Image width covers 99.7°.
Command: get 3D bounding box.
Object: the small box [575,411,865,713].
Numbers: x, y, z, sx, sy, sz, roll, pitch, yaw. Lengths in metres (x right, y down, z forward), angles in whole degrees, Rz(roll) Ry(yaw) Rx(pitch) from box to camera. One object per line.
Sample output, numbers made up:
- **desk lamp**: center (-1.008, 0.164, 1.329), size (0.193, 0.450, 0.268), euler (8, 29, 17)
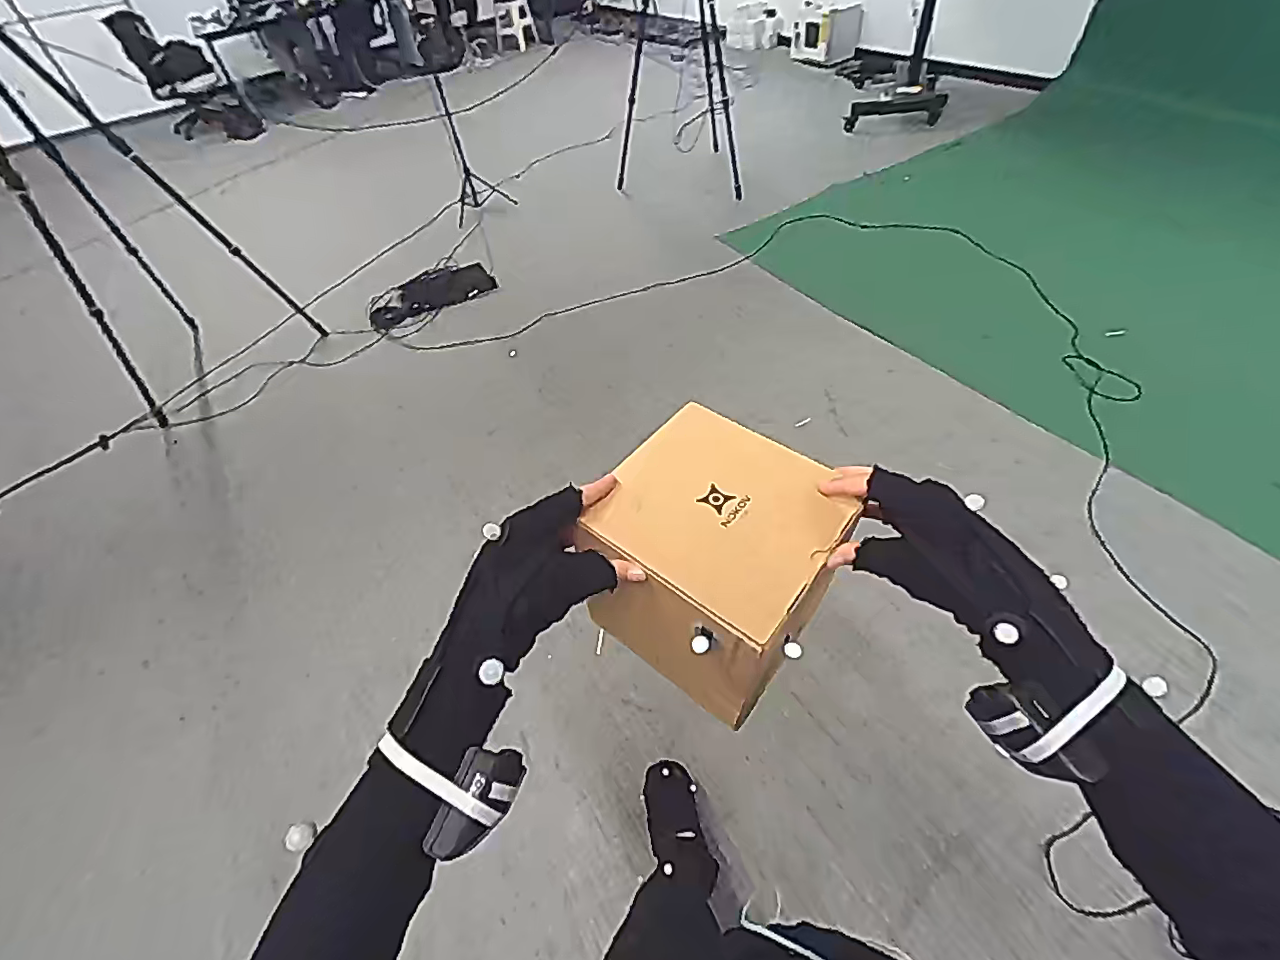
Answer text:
- **small box**: center (0.064, 0.074, 0.488), size (0.179, 0.176, 0.168), euler (32, 56, 25)
